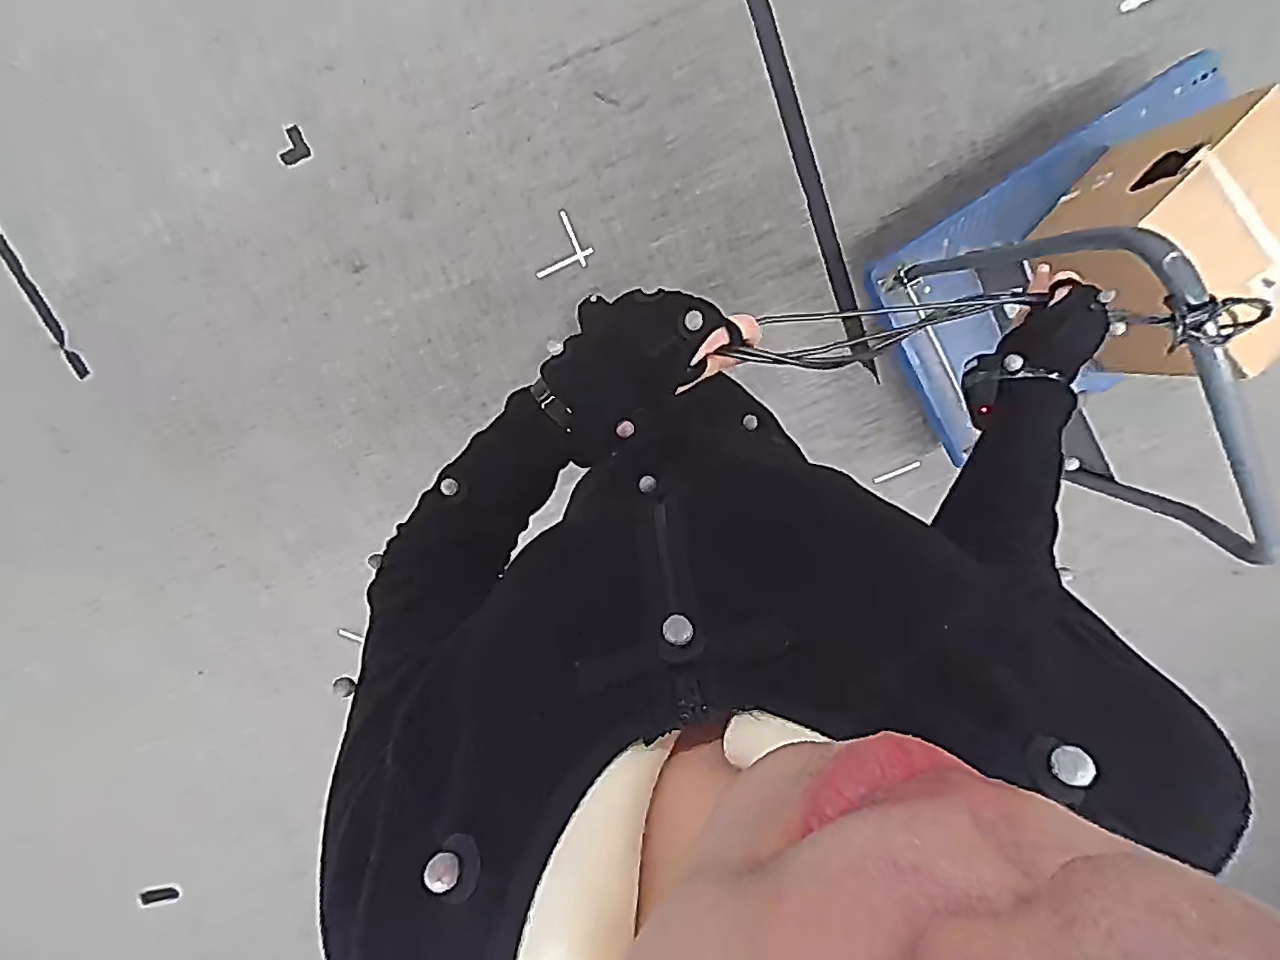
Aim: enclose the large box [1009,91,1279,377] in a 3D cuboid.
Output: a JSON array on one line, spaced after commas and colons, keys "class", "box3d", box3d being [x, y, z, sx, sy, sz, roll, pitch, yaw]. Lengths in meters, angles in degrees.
[{"class": "large box", "box3d": [1.095, -0.465, 1.118, 0.408, 0.320, 0.320, 40, 98, -13]}]
